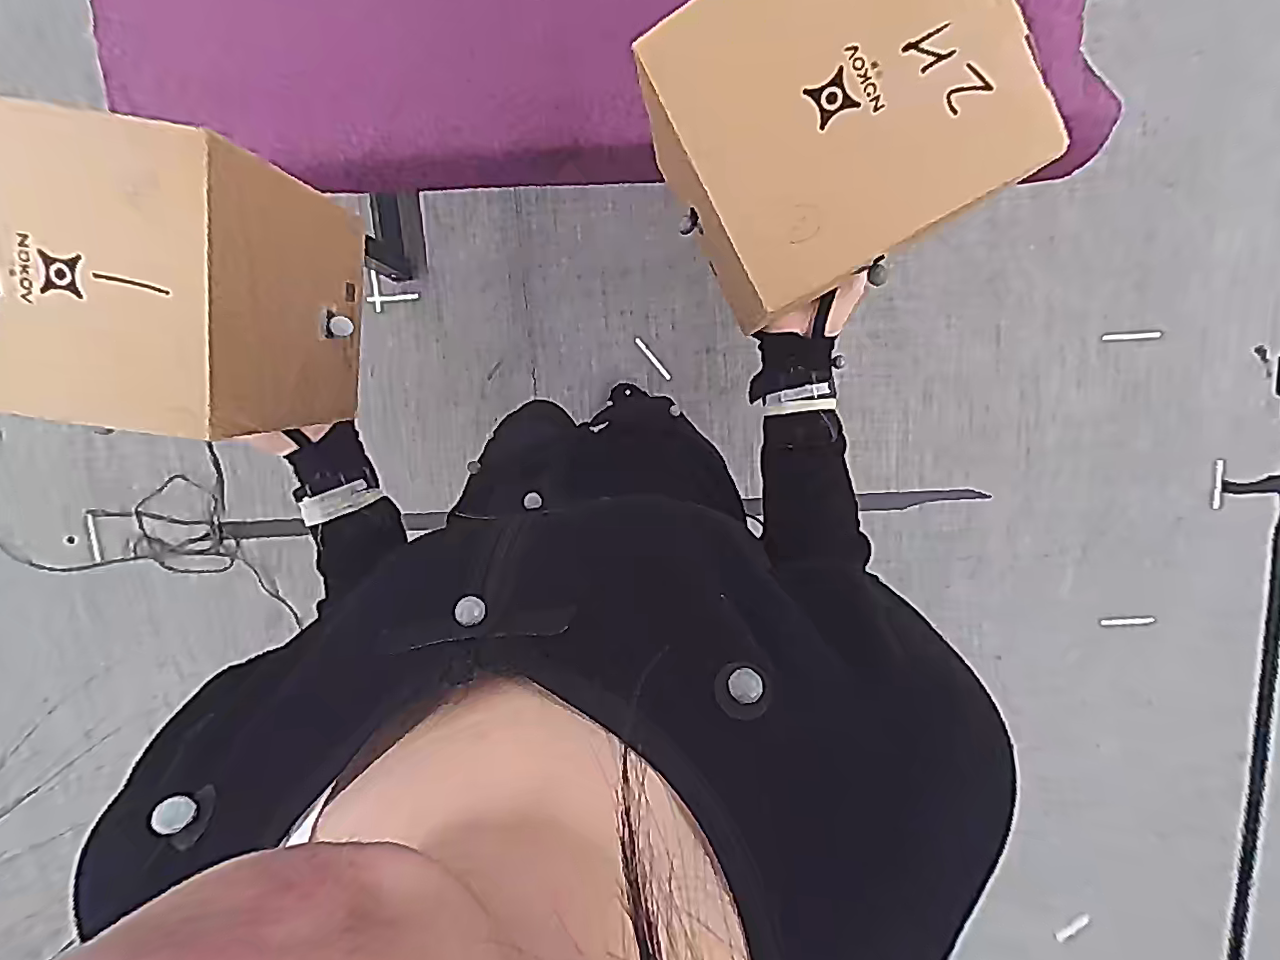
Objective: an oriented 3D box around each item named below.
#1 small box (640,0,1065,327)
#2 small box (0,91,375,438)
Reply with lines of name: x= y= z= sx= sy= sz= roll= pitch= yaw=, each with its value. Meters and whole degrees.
small box: x=0.120 y=-0.221 z=0.368 sx=0.179 sy=0.176 sz=0.168 roll=-28 pitch=97 yaw=10
small box: x=-0.311 y=-0.129 z=0.369 sx=0.179 sy=0.176 sz=0.168 roll=8 pitch=101 yaw=-3
